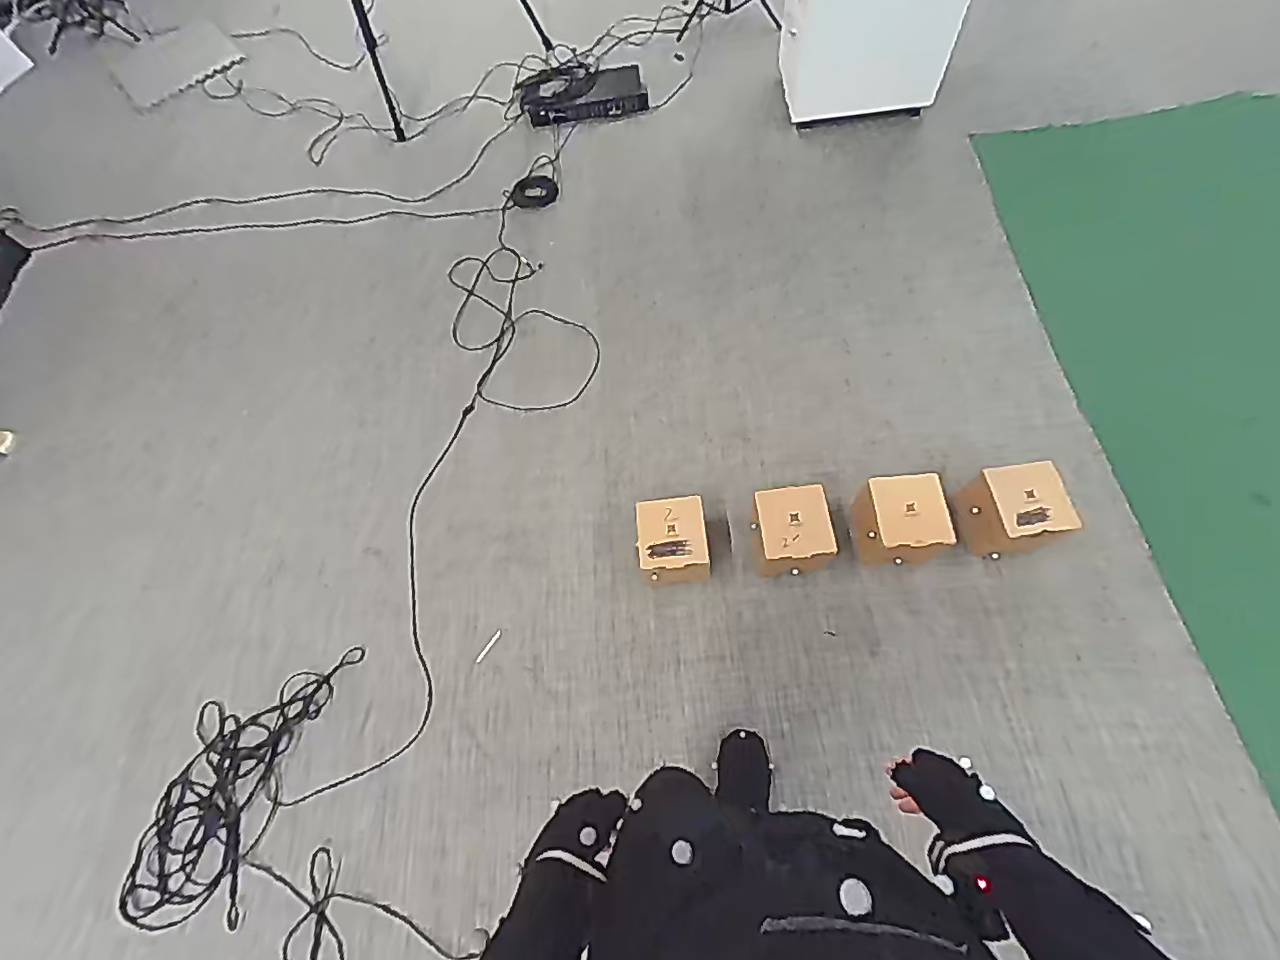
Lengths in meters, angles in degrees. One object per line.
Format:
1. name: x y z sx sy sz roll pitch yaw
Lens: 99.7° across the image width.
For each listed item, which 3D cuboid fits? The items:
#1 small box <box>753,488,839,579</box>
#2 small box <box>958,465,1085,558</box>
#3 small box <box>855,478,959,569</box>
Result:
1. small box: 0.380 0.137 1.351 0.168 0.176 0.179 -7 66 5
2. small box: 0.914 0.084 1.315 0.168 0.176 0.179 -7 65 3
3. small box: 0.647 0.110 1.335 0.168 0.176 0.179 -4 66 4
